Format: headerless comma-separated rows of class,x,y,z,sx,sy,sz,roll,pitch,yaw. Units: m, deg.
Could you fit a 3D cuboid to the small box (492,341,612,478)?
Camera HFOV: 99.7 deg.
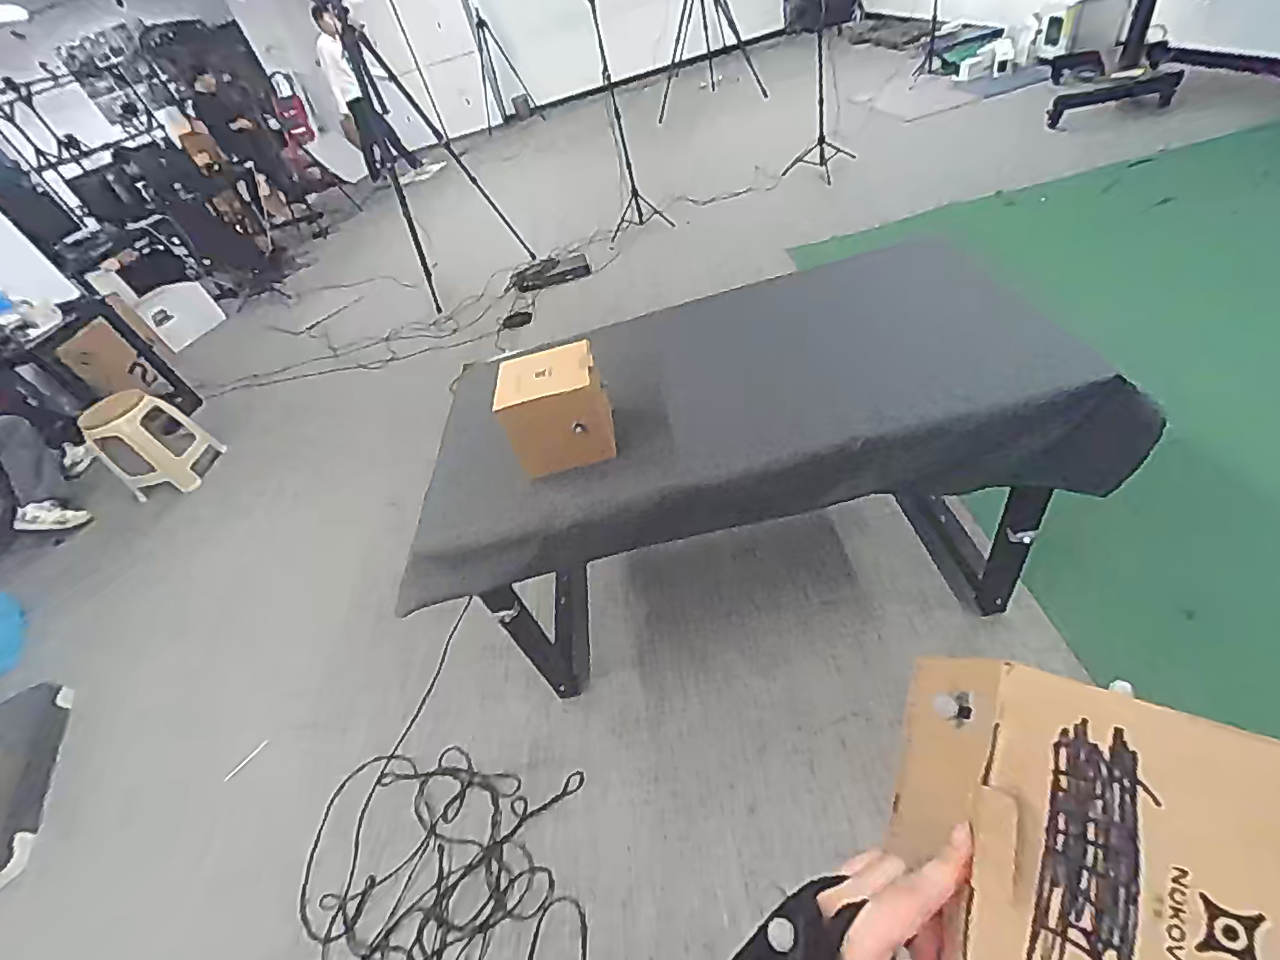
small box,-0.155,-0.129,1.012,0.179,0.176,0.168,-15,41,5
